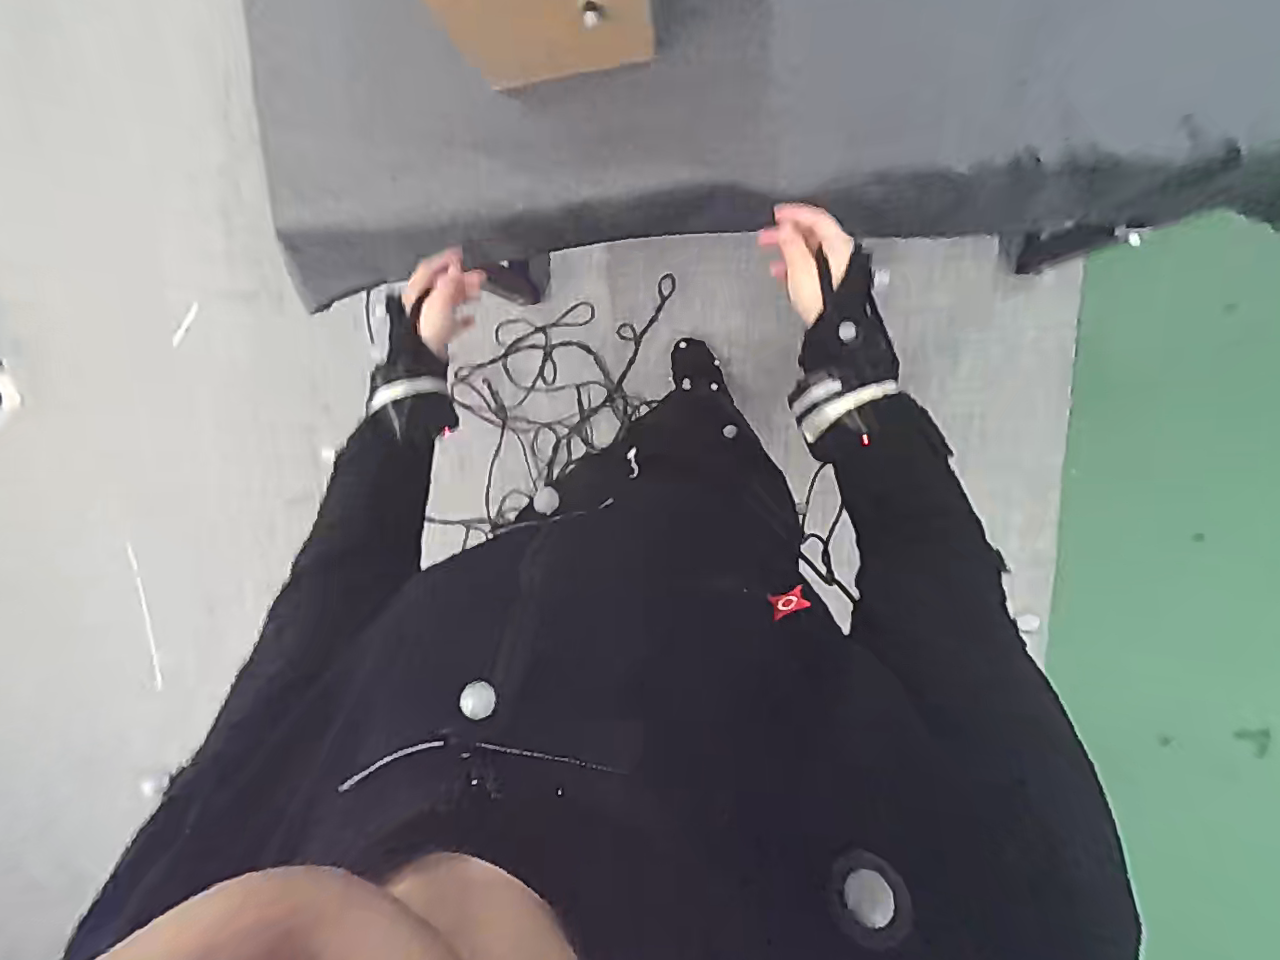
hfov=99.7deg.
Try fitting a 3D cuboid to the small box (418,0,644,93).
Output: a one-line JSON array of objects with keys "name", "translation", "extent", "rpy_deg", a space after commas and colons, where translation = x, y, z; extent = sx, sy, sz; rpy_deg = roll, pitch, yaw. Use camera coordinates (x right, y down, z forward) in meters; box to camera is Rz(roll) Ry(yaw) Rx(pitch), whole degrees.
[{"name": "small box", "translation": [-0.094, -0.483, 0.473], "extent": [0.179, 0.176, 0.168], "rpy_deg": [-5, 97, 10]}]
